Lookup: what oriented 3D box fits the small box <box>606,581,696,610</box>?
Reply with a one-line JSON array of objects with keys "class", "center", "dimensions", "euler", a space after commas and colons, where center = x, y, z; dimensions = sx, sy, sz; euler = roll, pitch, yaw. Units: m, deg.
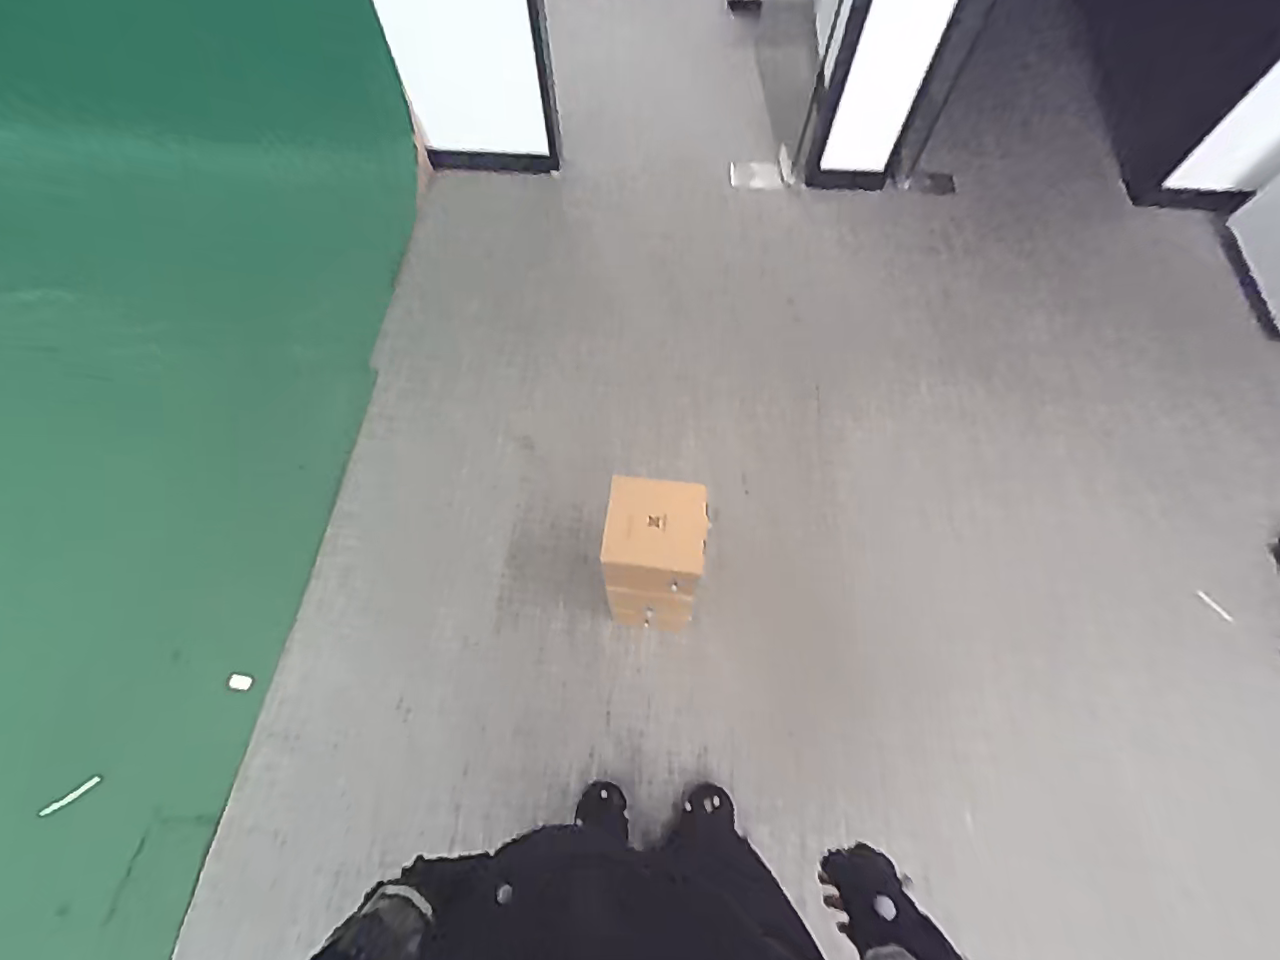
[{"class": "small box", "center": [0.030, 0.175, 1.154], "dimensions": [0.179, 0.176, 0.168], "euler": [8, 66, 3]}]

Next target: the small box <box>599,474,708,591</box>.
[{"class": "small box", "center": [0.027, 0.104, 1.008], "dimensions": [0.179, 0.176, 0.168], "euler": [5, 65, 4]}]

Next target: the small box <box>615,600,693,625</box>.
[{"class": "small box", "center": [0.035, 0.250, 1.300], "dimensions": [0.179, 0.176, 0.168], "euler": [5, 66, 1]}]
